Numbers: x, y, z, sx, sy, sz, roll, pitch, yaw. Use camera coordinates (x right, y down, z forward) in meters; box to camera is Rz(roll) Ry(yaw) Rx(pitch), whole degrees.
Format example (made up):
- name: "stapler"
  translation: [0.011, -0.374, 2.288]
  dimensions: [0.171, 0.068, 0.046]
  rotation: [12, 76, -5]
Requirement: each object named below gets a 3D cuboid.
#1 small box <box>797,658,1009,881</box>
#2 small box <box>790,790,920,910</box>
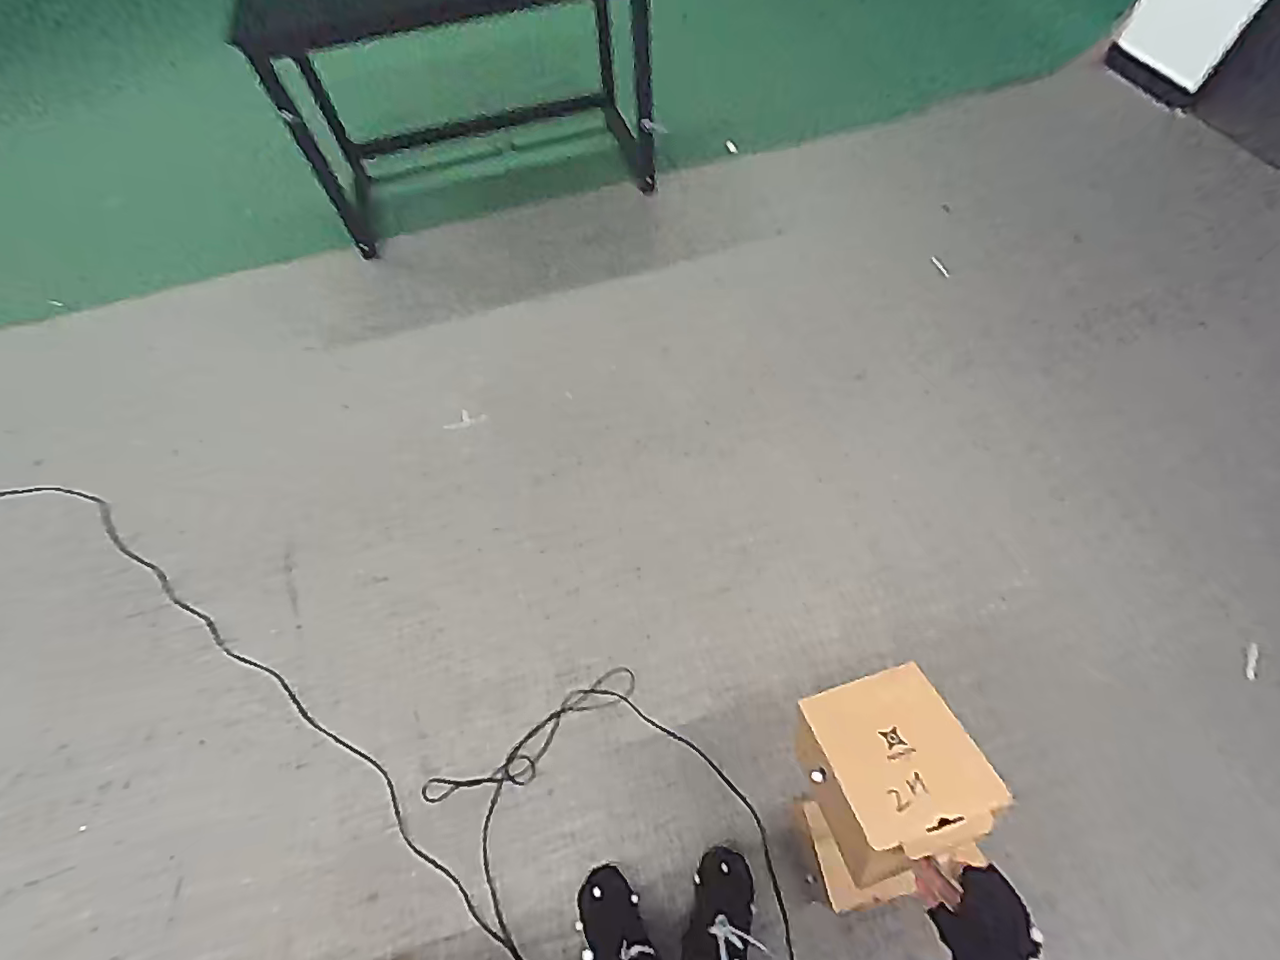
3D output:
- name: "small box"
  translation: [0.310, 0.365, 0.686]
  dimensions: [0.168, 0.176, 0.179]
  rotation: [-18, 42, -5]
- name: "small box"
  translation: [0.414, 0.713, 1.074]
  dimensions: [0.168, 0.176, 0.179]
  rotation: [-10, 62, -3]
